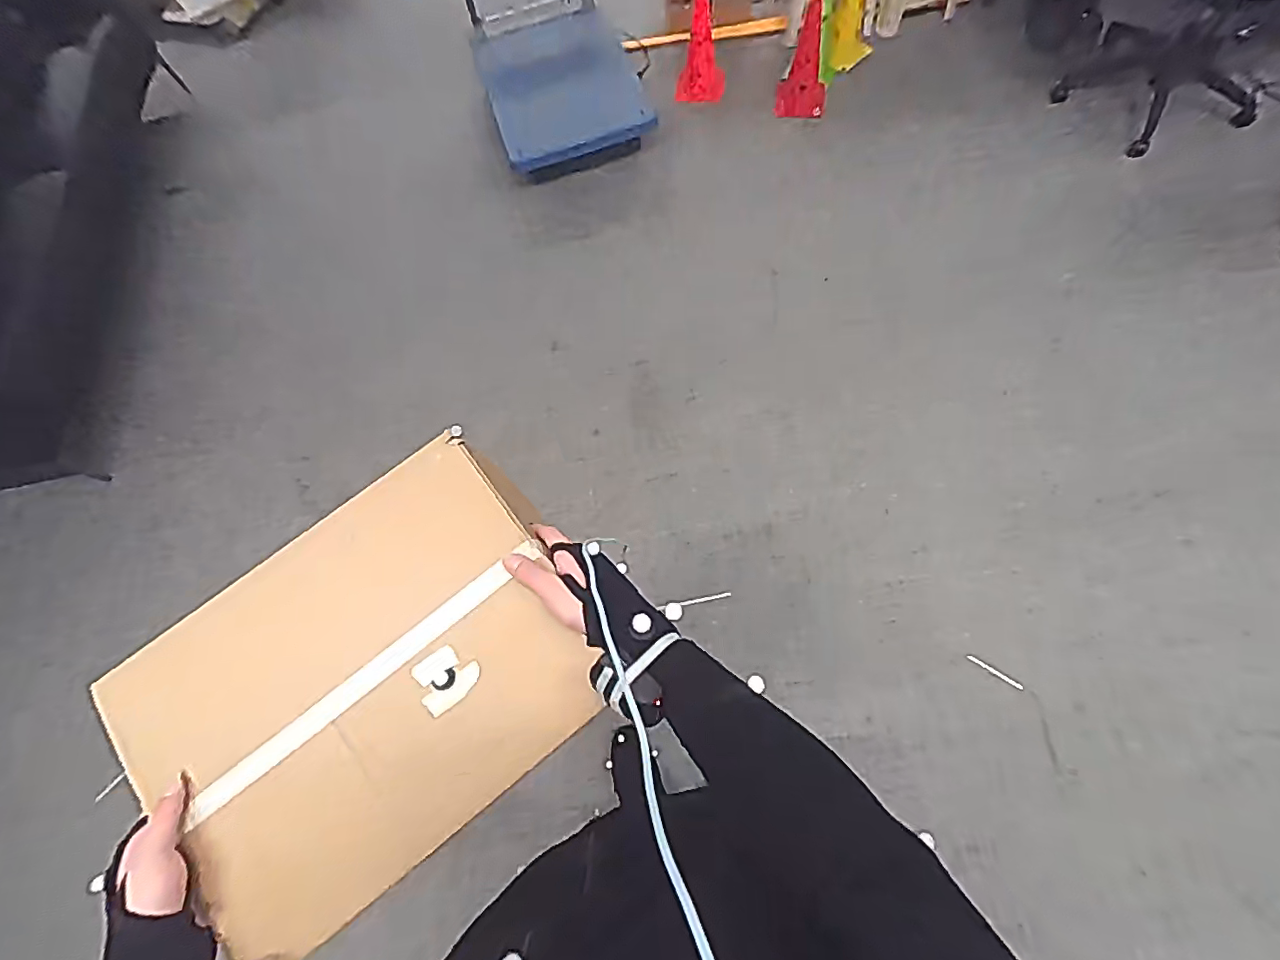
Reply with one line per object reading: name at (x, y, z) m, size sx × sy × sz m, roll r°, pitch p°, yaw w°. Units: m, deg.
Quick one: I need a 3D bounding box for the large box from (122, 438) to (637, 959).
large box at (-0.251, 0.227, 0.658) m, size 0.408 × 0.320 × 0.320 m, roll -38°, pitch 79°, yaw -9°
